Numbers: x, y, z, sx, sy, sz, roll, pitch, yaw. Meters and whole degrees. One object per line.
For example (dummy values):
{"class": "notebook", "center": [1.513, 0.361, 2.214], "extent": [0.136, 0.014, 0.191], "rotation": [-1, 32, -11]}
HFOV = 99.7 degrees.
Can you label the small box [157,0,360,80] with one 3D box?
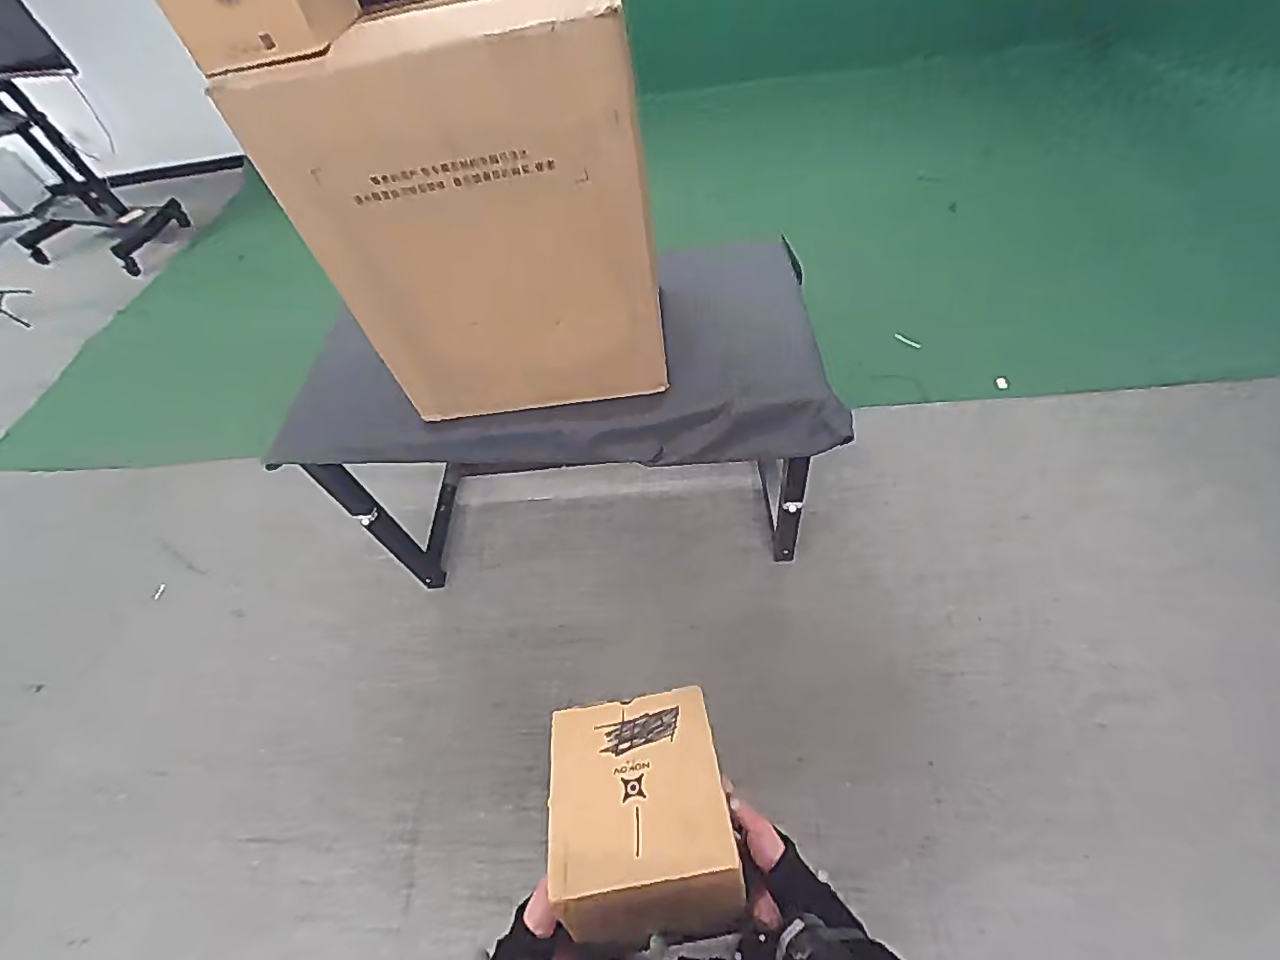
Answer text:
{"class": "small box", "center": [-0.485, -0.628, 0.675], "extent": [0.168, 0.176, 0.179], "rotation": [-6, 53, 6]}
